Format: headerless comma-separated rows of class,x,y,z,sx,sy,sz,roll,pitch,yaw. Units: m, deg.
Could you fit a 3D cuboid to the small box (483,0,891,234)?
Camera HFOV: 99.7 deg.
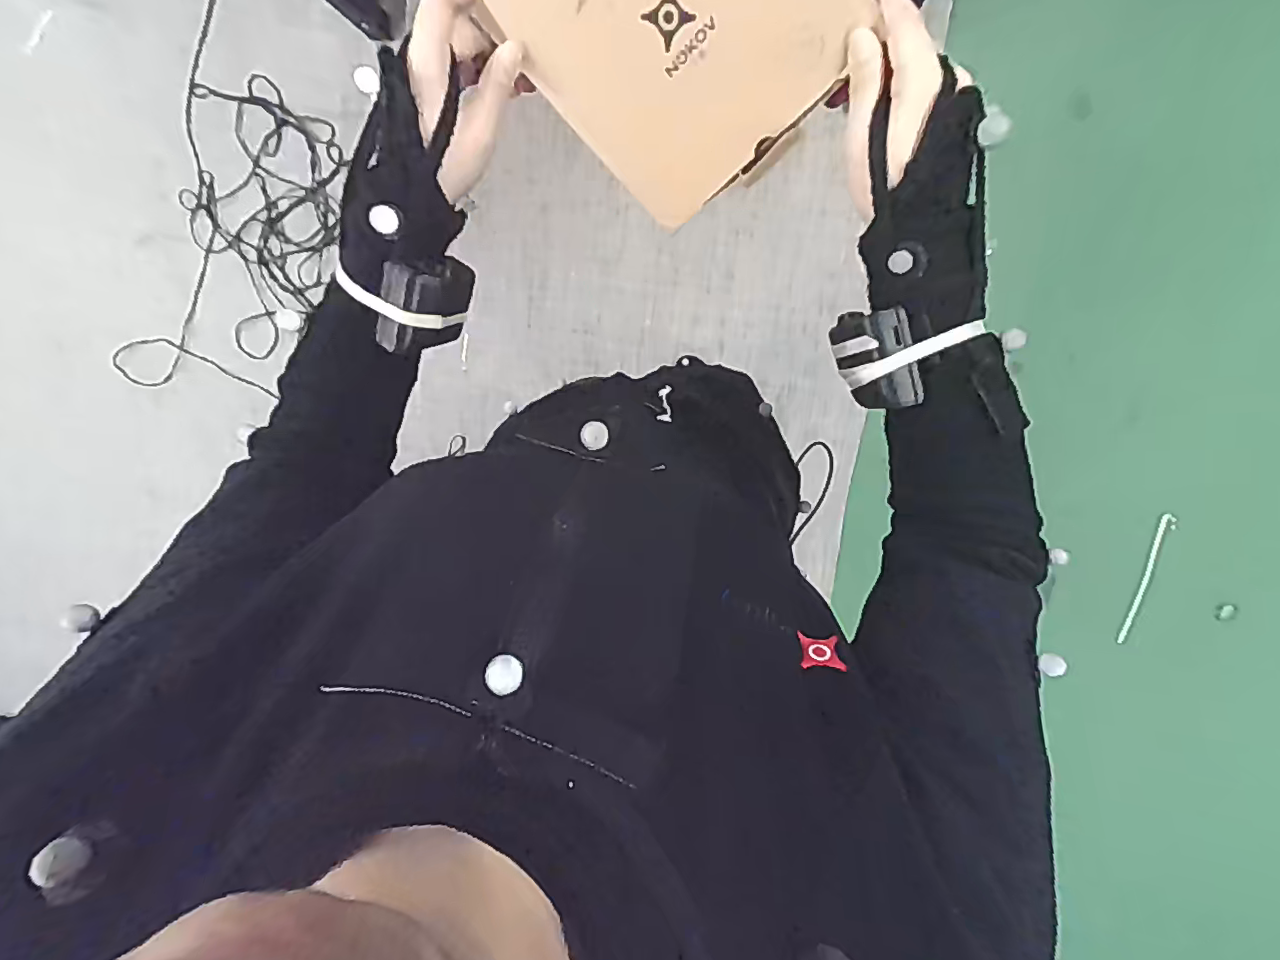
small box,0.037,-0.312,0.355,0.179,0.176,0.168,38,133,-27
